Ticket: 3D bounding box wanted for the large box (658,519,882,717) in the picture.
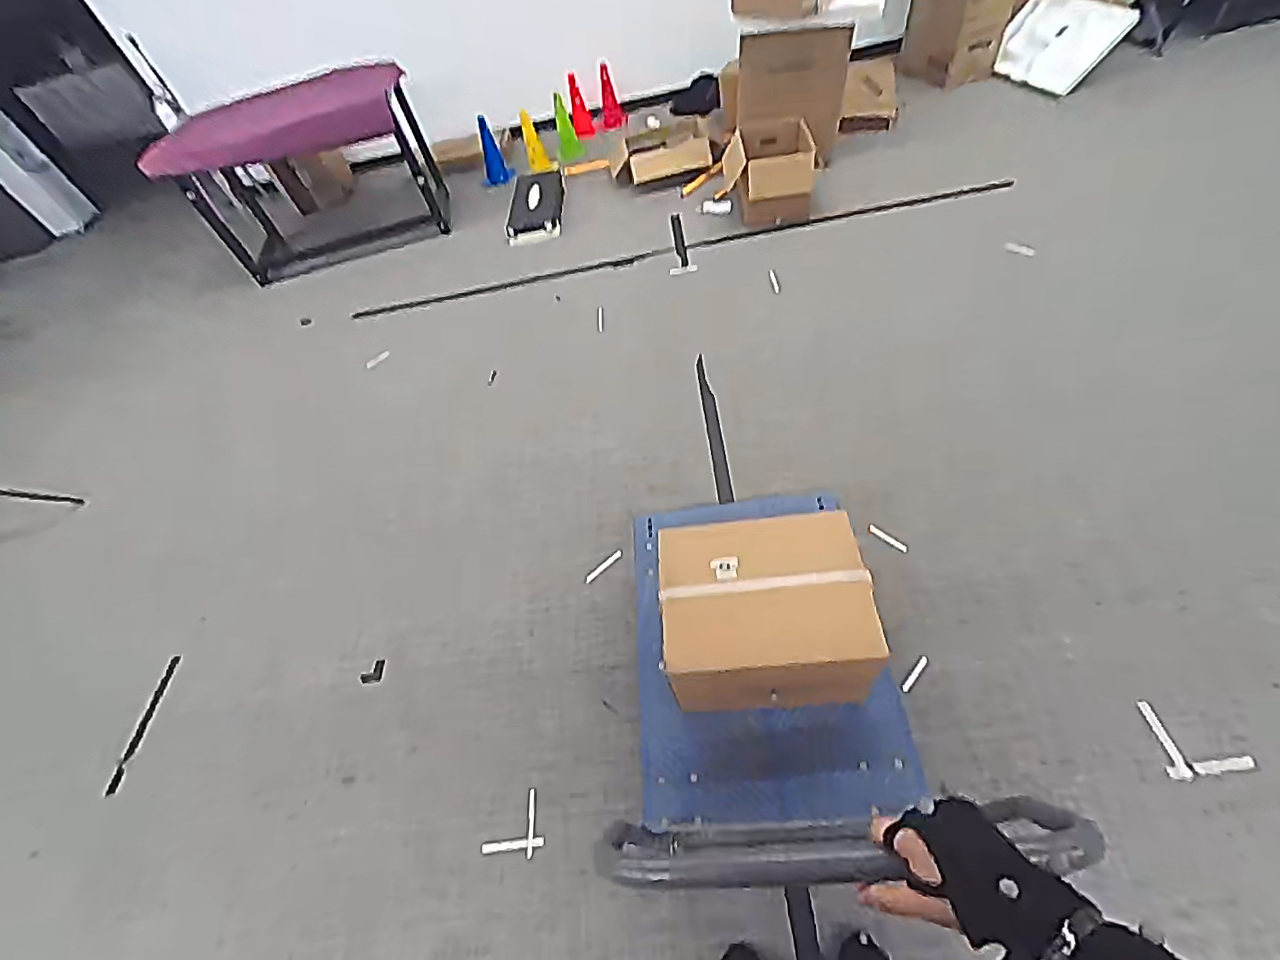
[{"bbox_3d":[0.268,0.320,1.208,0.408,0.320,0.320,-8,51,7],"label":"large box"}]
